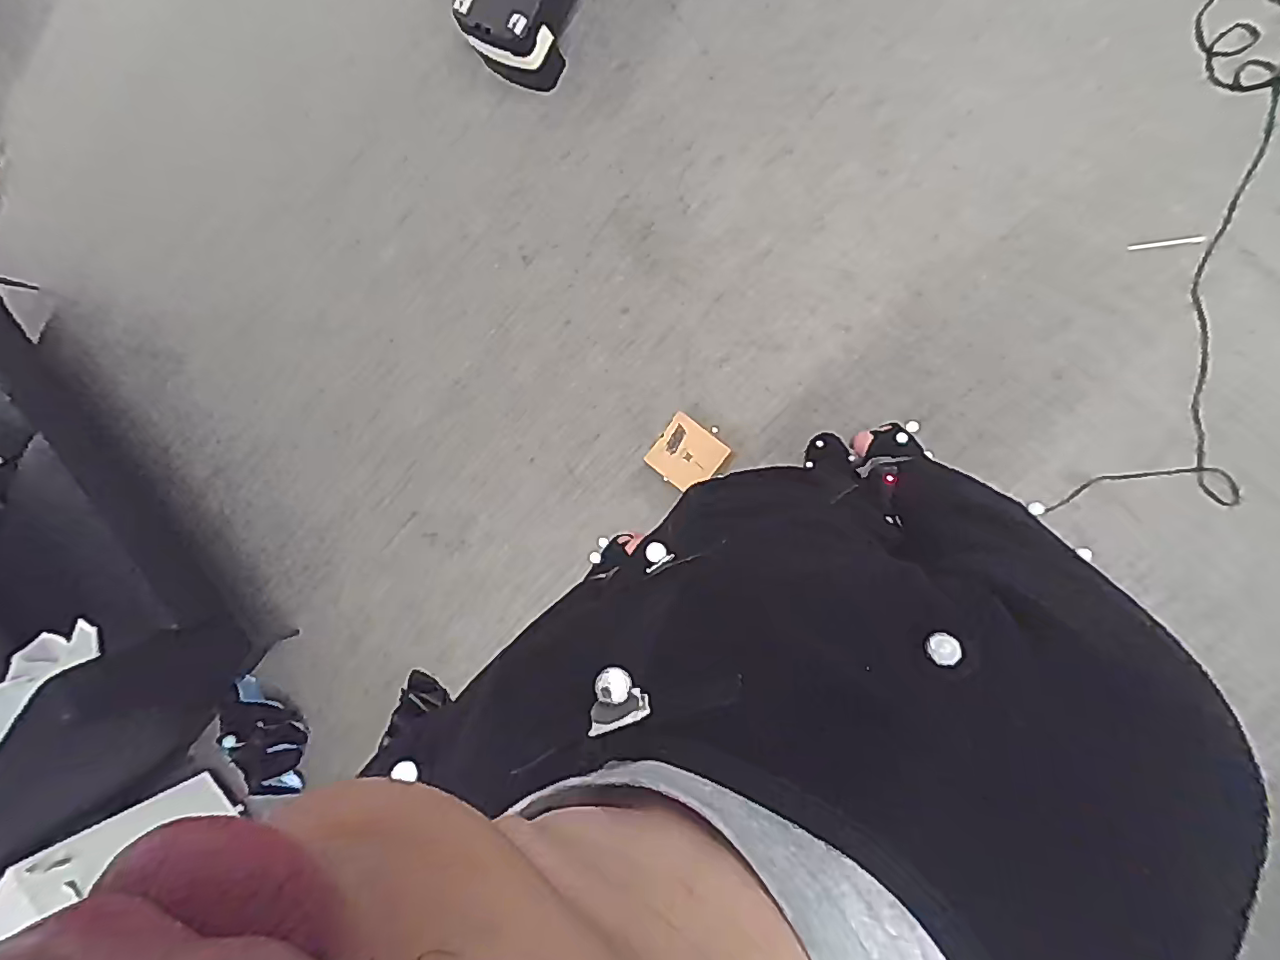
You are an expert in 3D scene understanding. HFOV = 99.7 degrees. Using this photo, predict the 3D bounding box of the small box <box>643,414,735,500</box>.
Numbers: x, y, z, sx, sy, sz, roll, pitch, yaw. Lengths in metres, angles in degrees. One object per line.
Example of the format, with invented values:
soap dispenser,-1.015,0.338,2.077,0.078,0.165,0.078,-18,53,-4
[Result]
small box,0.141,-0.060,1.492,0.179,0.176,0.168,39,102,12
